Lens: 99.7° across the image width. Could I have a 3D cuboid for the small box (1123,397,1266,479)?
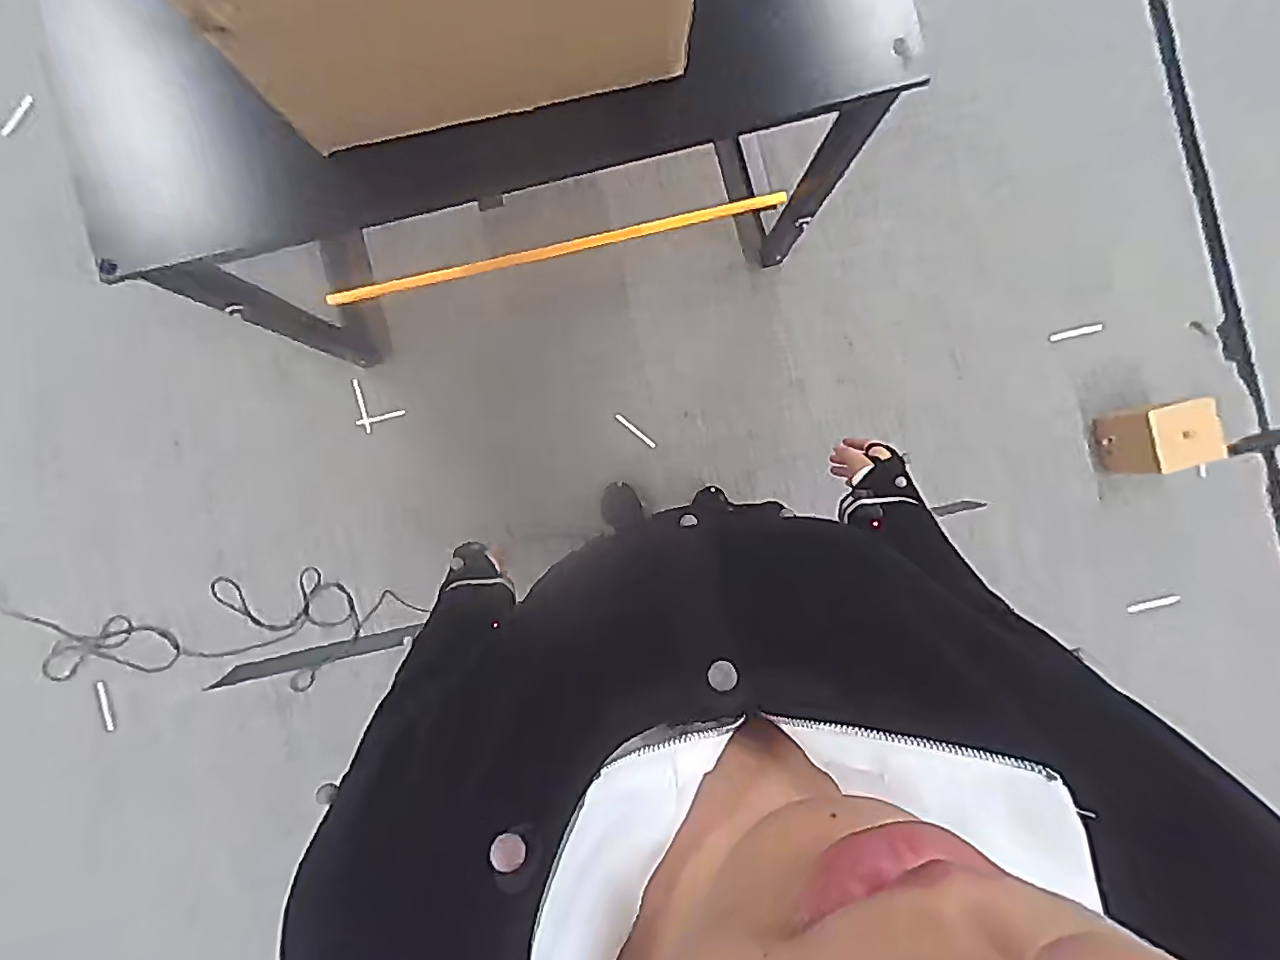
[{"bbox_3d":[1.396,-0.104,1.371,0.179,0.176,0.168,-15,90,0],"label":"small box"}]
